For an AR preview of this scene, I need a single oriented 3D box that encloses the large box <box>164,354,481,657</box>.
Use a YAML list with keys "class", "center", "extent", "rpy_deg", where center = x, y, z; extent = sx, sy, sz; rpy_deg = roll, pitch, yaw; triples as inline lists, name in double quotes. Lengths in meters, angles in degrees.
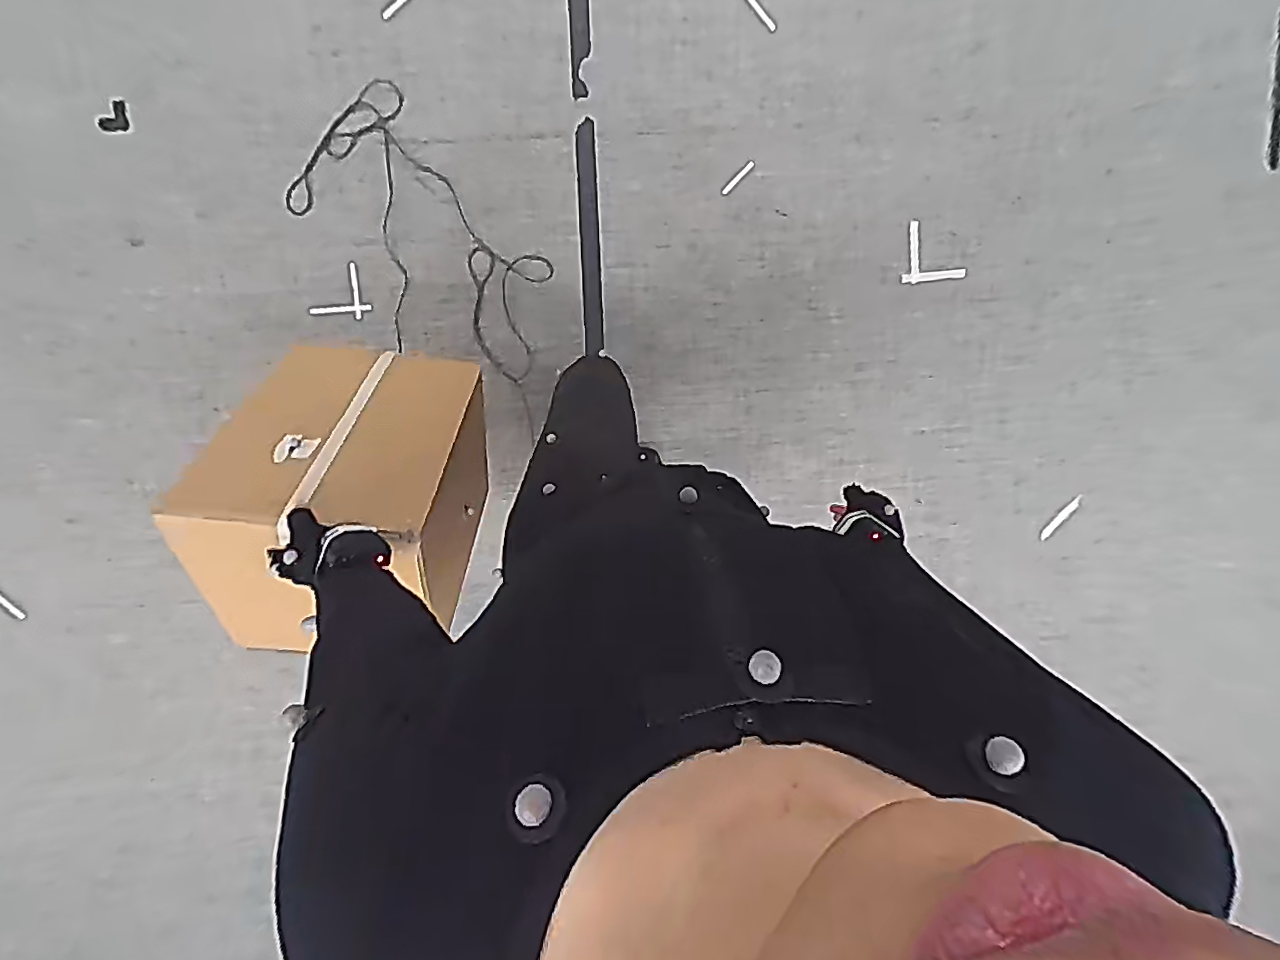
- class: "large box"
  center: [-0.461, 0.037, 0.917]
  extent: [0.320, 0.408, 0.320]
  rpy_deg: [4, 133, -6]
